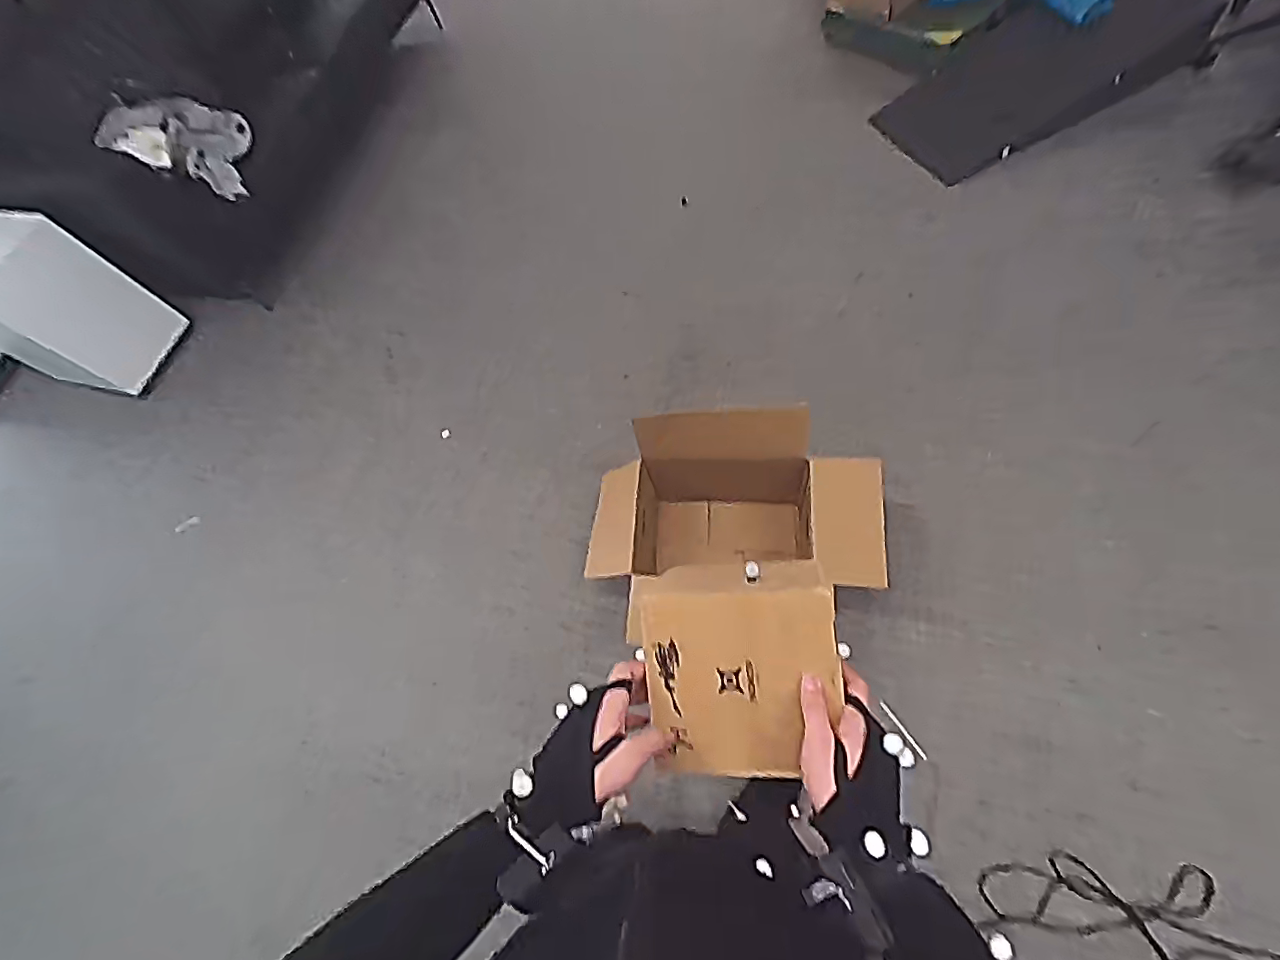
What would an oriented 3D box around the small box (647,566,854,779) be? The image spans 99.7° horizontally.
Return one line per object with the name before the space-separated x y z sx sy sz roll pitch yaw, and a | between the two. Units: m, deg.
small box | 0.114 0.185 0.567 0.179 0.176 0.168 -5 88 14
